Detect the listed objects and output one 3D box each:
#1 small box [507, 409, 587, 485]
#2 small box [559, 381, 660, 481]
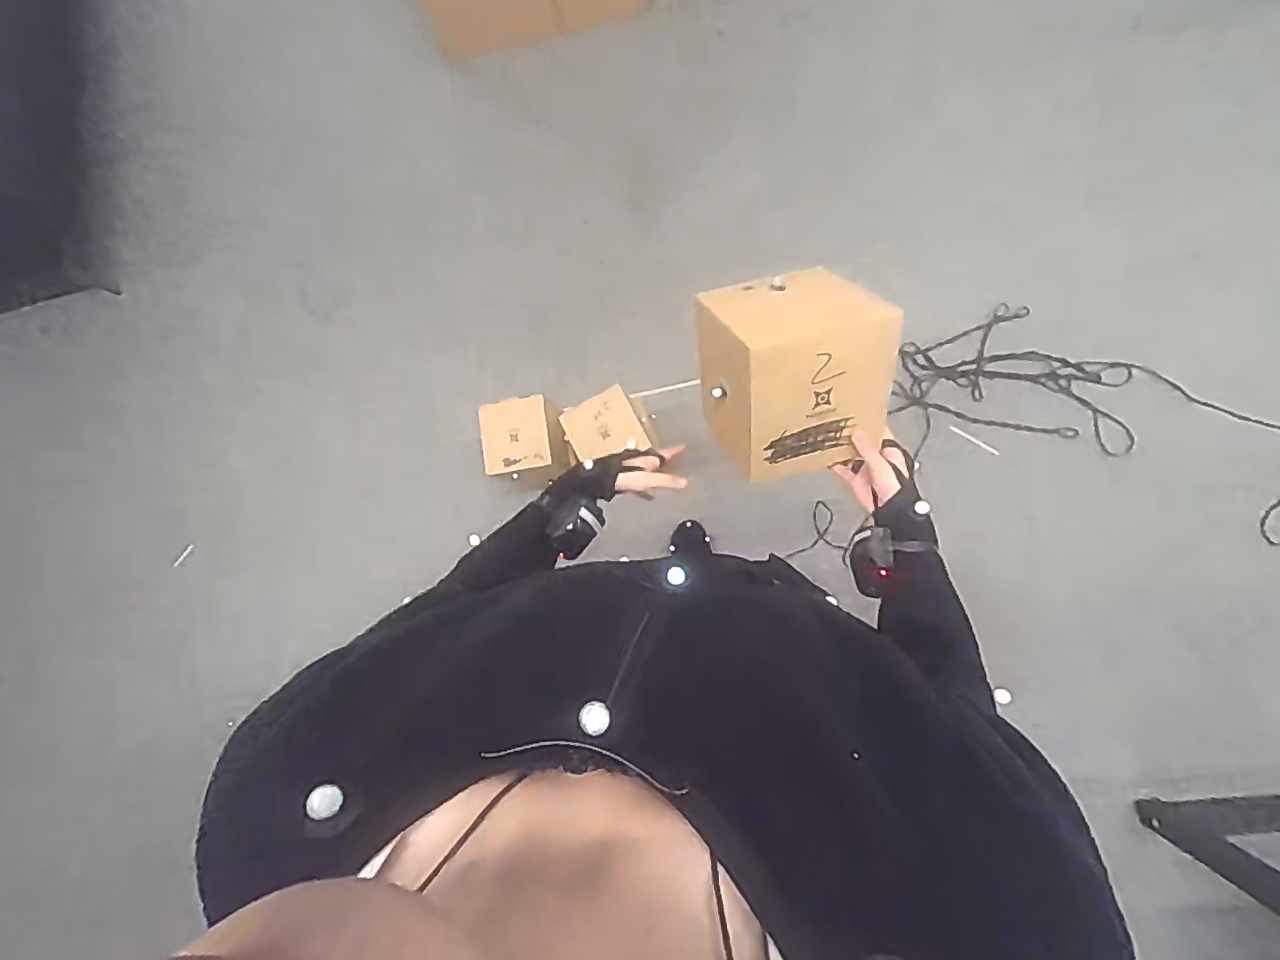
[{"bbox_3d":[-0.248,-0.086,1.504,0.179,0.176,0.168,-11,81,9],"label":"small box"},{"bbox_3d":[-0.066,-0.109,1.311,0.168,0.176,0.179,-28,79,6],"label":"small box"}]
